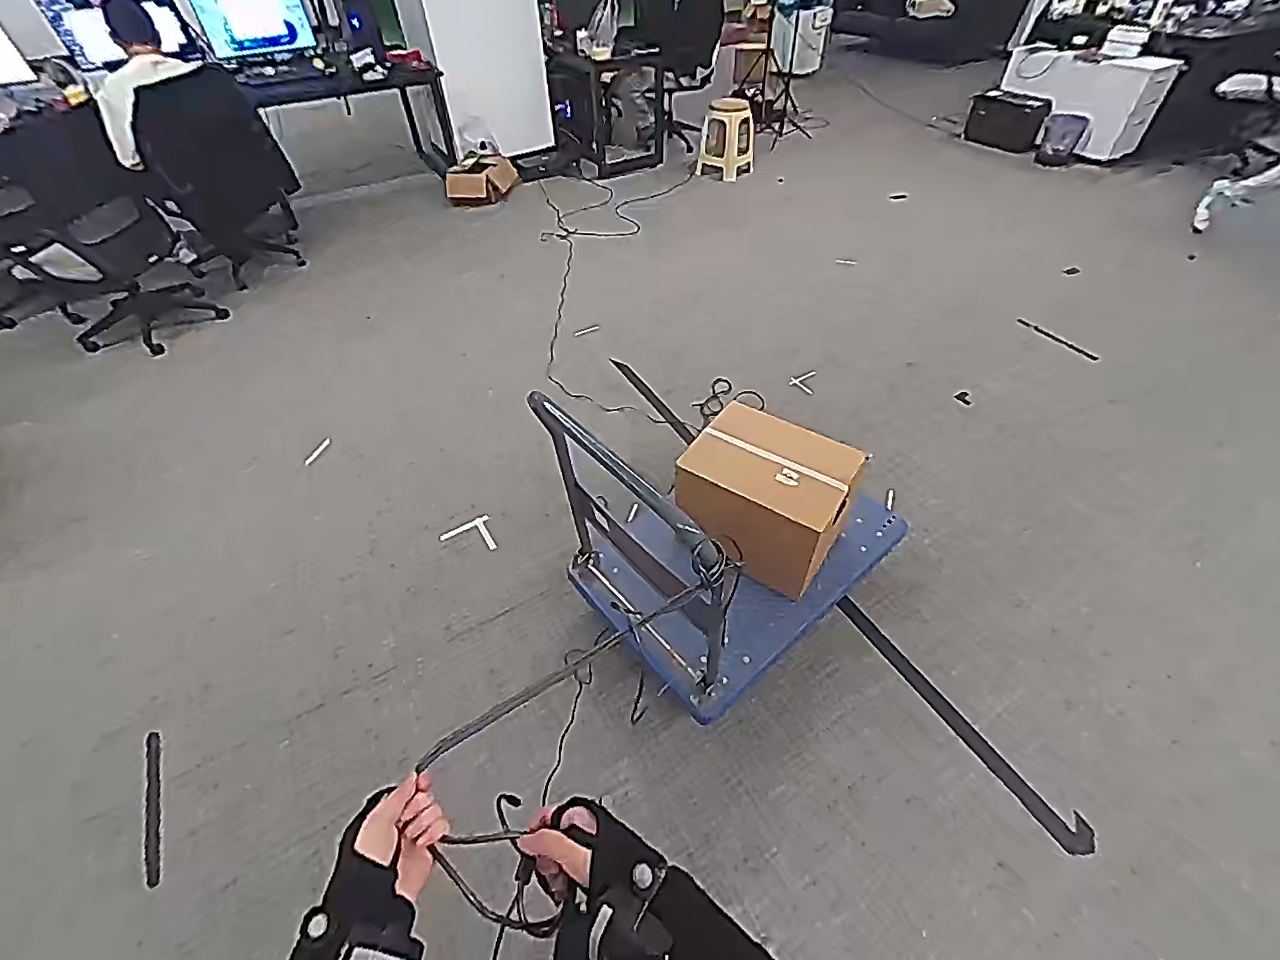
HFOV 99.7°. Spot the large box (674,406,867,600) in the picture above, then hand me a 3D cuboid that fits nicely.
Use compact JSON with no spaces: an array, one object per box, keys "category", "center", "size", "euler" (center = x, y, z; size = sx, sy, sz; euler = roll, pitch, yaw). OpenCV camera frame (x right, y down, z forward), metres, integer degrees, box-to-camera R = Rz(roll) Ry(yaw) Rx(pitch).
[{"category":"large box","center":[0.341,0.055,1.502],"size":[0.408,0.320,0.320],"euler":[27,54,24]}]
